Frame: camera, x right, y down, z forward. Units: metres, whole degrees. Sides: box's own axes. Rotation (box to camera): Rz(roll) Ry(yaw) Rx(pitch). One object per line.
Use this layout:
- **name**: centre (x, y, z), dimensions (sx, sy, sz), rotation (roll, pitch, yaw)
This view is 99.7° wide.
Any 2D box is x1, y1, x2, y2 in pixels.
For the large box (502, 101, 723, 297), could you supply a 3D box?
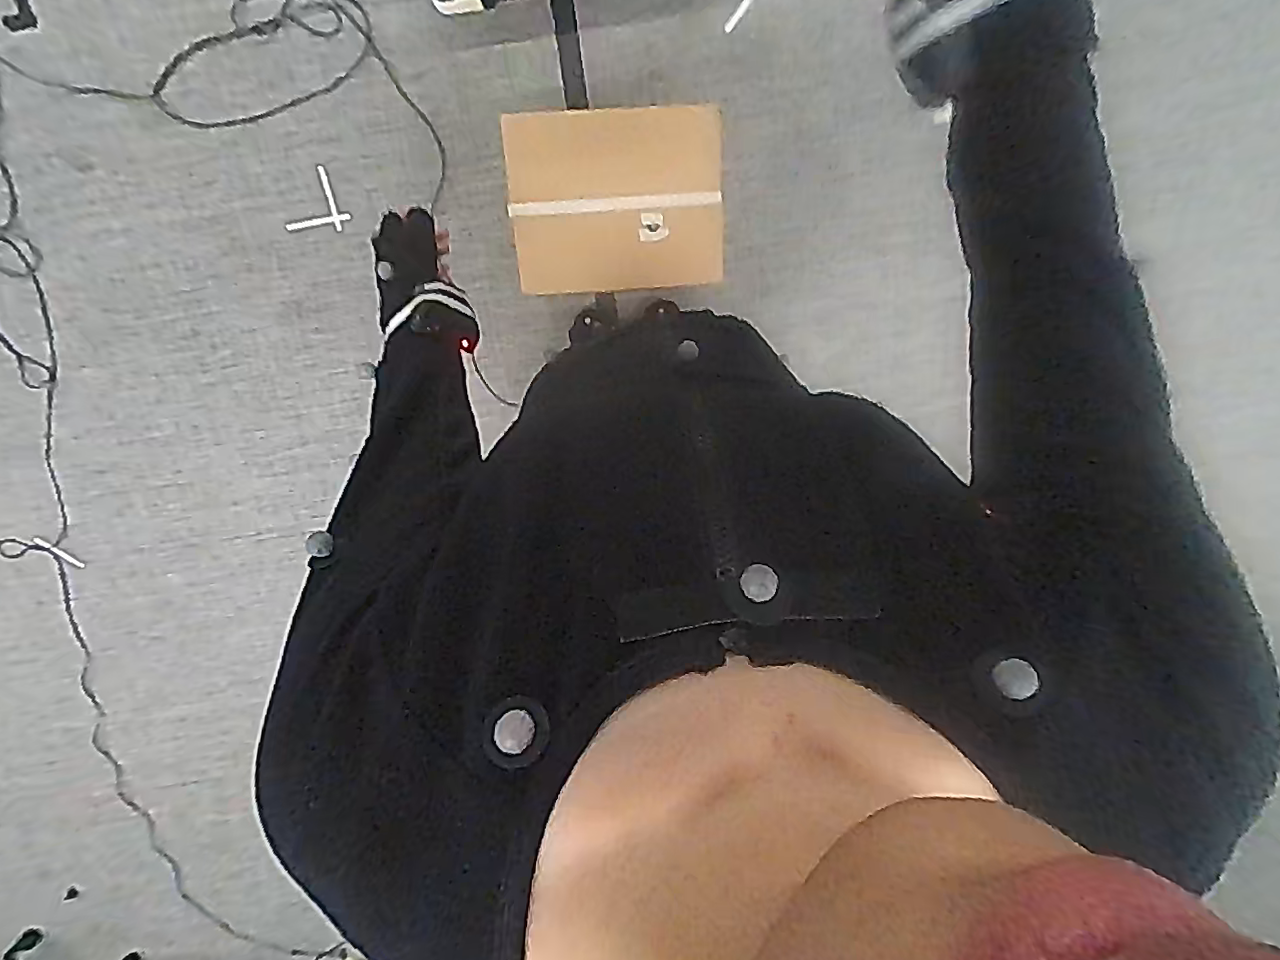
- **large box**: centre (-0.054, -0.578, 1.171), dimensions (0.408, 0.320, 0.320), rotation (-5, 109, -3)
